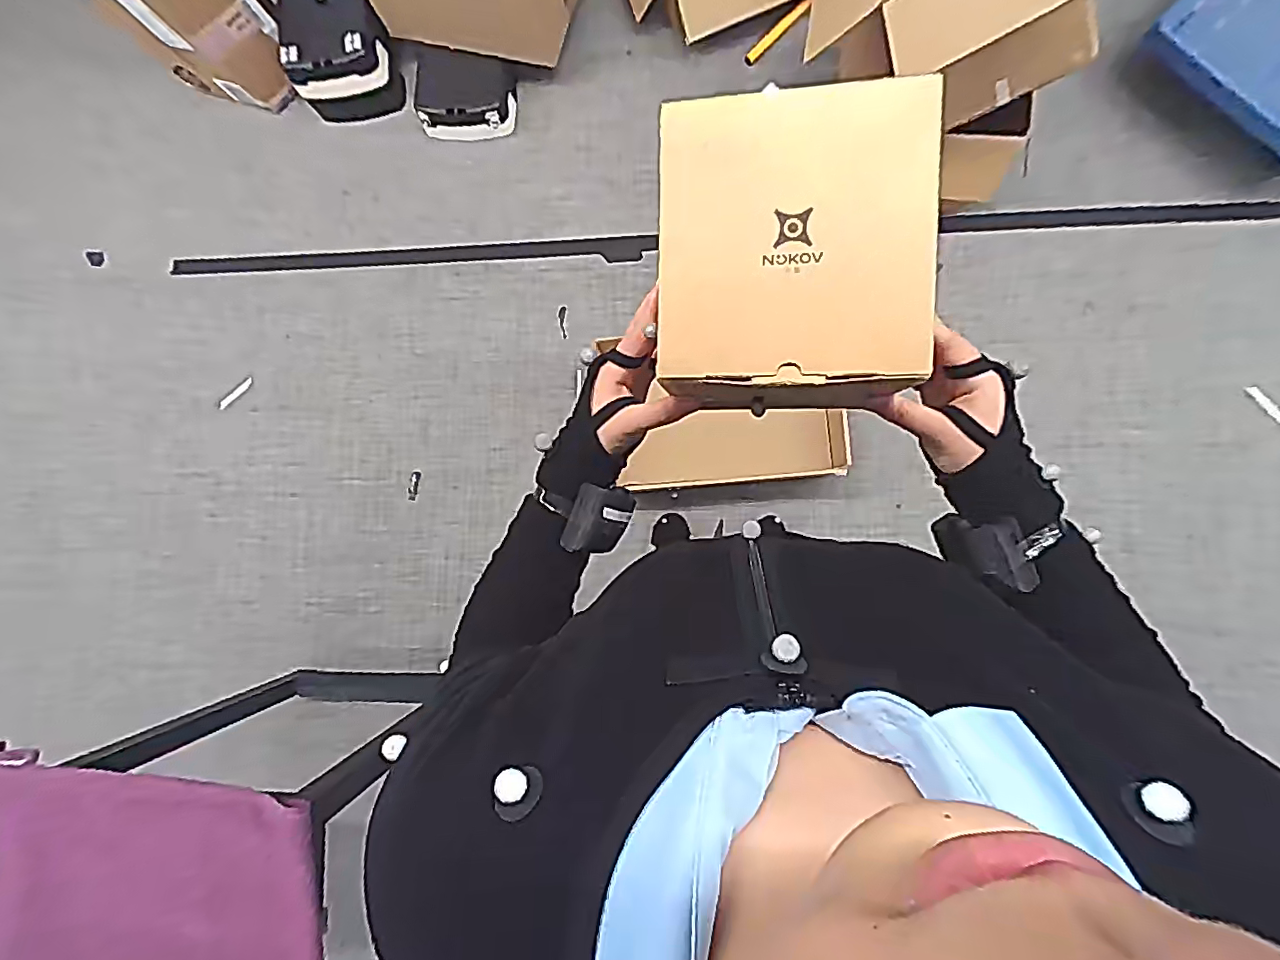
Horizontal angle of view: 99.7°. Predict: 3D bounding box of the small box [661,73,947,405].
[{"bbox_3d":[0.108,-0.152,0.405,0.168,0.176,0.179,1,93,10],"label":"small box"}]
